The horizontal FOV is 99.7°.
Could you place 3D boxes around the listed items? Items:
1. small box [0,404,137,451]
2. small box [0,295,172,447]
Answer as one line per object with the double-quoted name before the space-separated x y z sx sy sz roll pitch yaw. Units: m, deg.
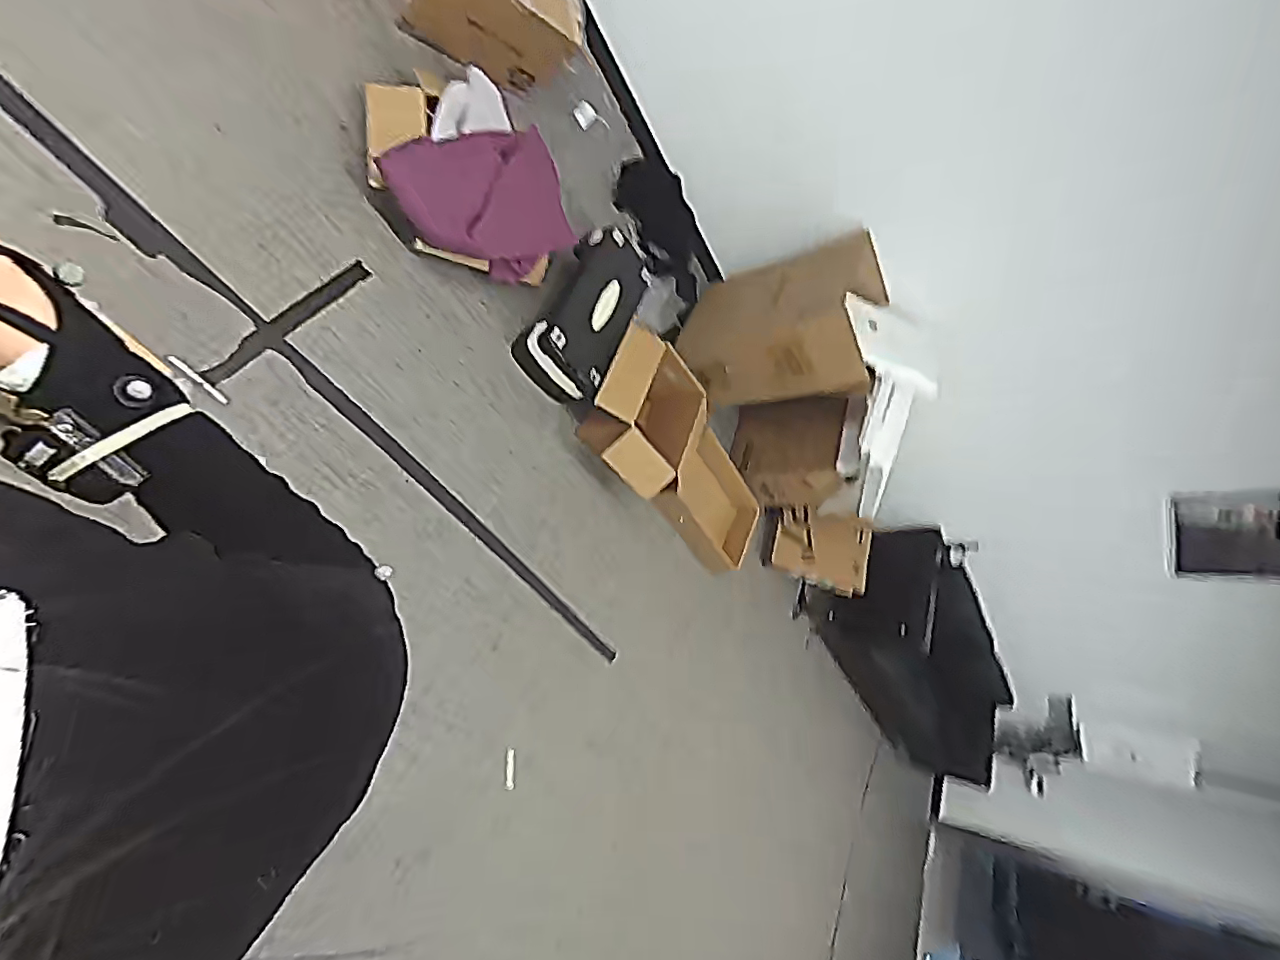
"small box" -1.078 -0.168 1.007 0.179 0.176 0.168 51 51 -34
"small box" -0.950 -0.175 0.903 0.168 0.176 0.179 54 50 -31
